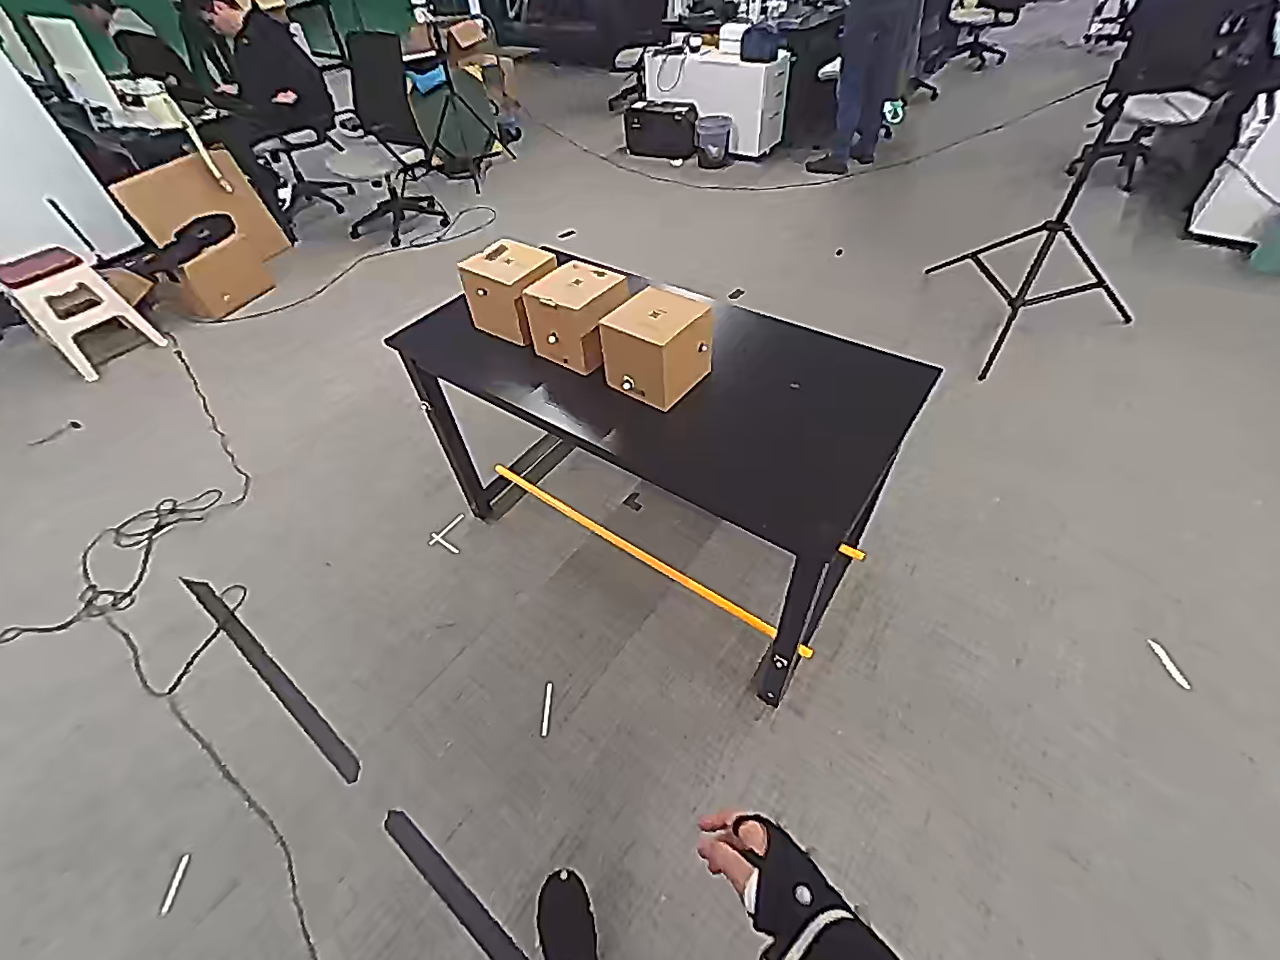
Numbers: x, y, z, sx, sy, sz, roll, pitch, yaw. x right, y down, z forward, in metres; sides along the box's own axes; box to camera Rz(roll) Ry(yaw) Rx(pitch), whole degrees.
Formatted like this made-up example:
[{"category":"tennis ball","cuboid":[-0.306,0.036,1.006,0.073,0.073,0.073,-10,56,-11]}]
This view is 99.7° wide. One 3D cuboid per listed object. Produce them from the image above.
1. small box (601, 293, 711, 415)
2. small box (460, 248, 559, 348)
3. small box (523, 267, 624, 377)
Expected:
[{"category":"small box","cuboid":[0.038,-0.273,1.170,0.168,0.176,0.179,27,56,27]},{"category":"small box","cuboid":[-0.315,-0.456,1.361,0.179,0.176,0.168,26,55,24]},{"category":"small box","cuboid":[-0.141,-0.368,1.269,0.168,0.176,0.179,27,56,26]}]
